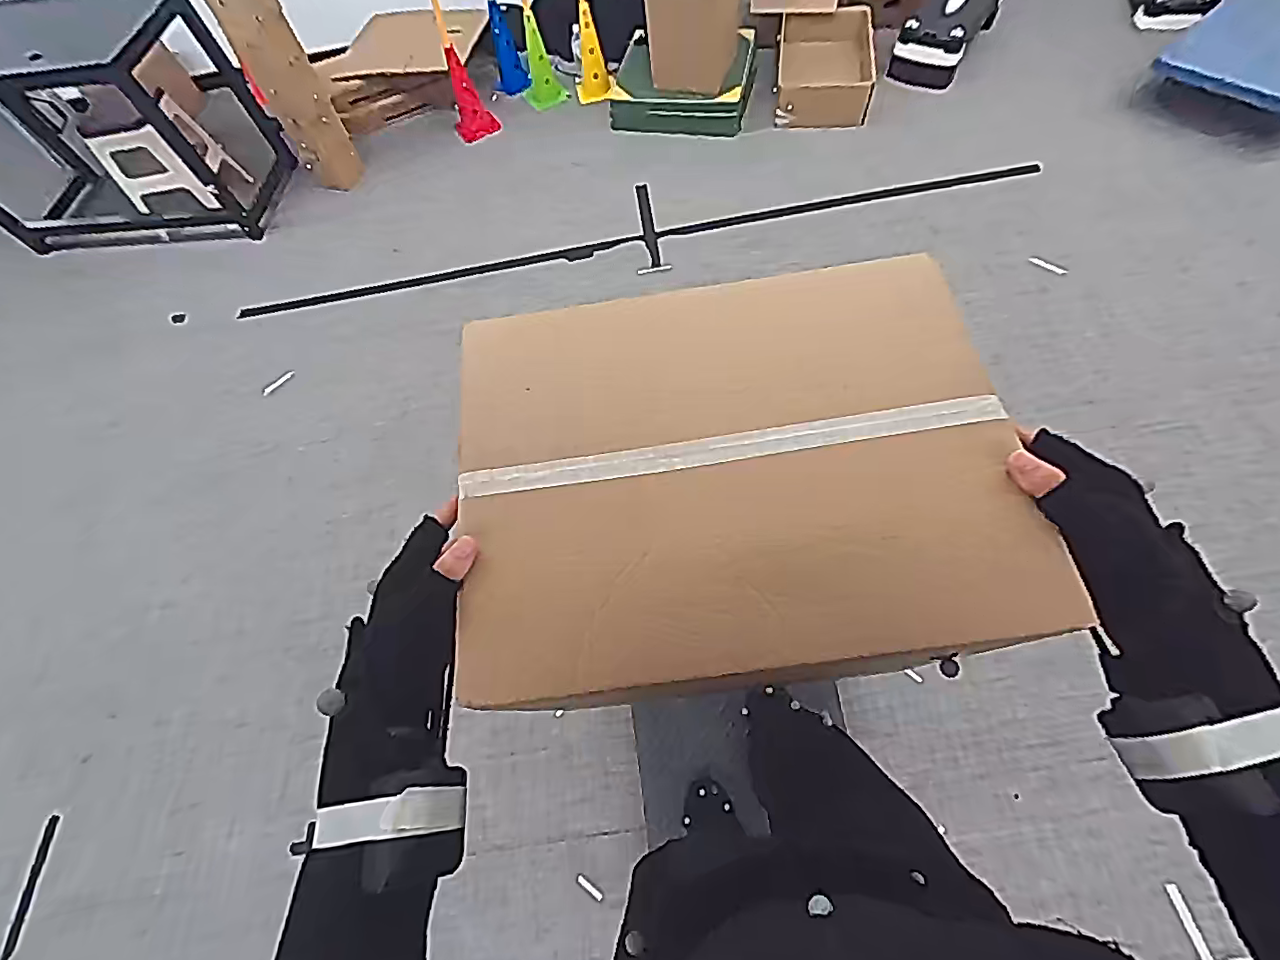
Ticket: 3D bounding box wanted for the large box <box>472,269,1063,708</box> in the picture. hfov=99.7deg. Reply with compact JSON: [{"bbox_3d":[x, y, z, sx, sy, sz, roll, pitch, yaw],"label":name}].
[{"bbox_3d":[0.080,0.041,0.554,0.408,0.320,0.320,-9,66,2],"label":"large box"}]
